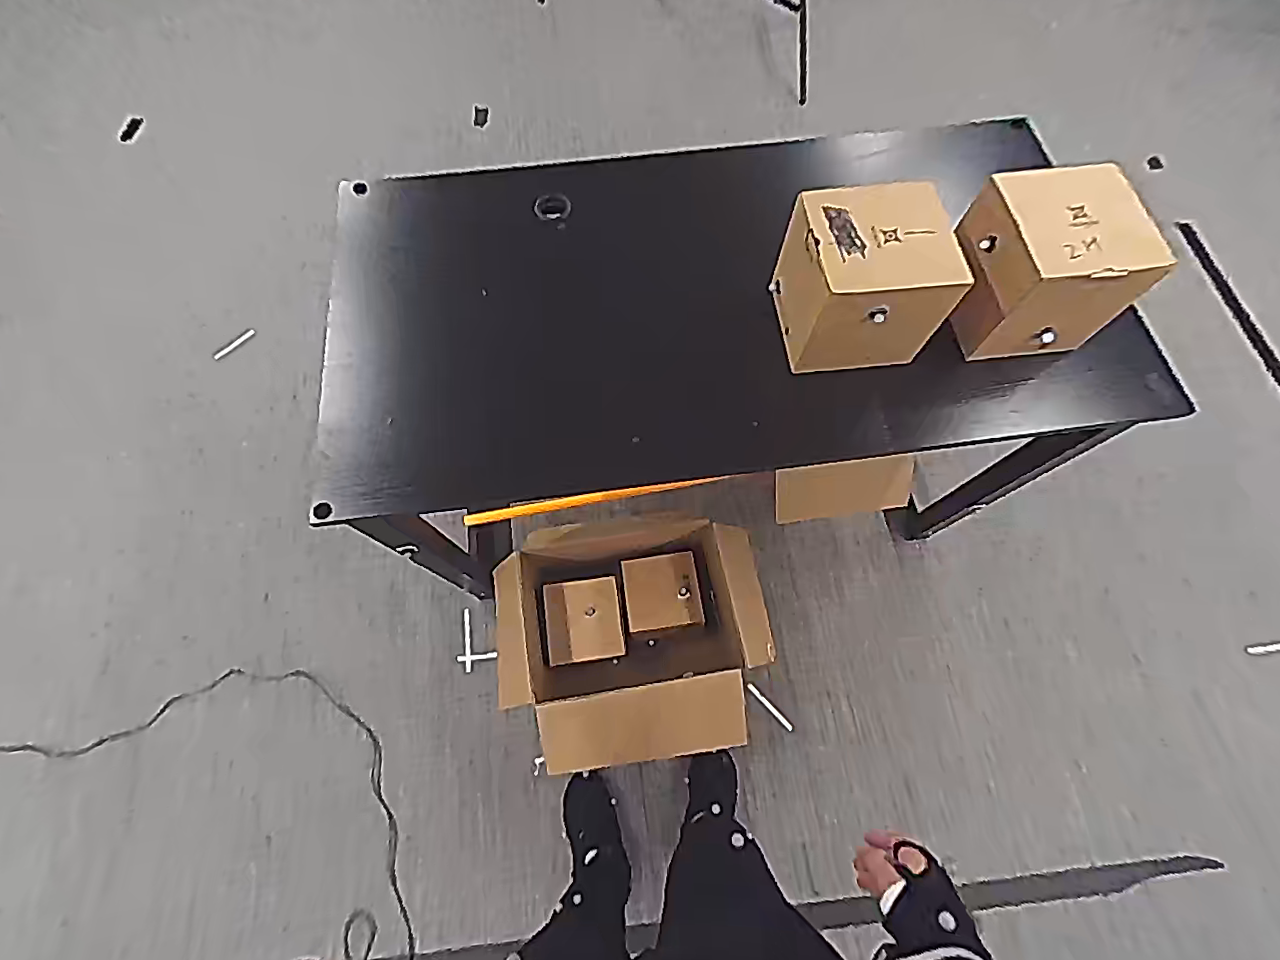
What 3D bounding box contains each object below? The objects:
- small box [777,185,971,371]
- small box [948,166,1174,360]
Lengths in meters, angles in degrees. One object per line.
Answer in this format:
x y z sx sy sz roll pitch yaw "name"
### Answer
0.293 -0.261 0.728 0.179 0.176 0.168 -5 69 -3 "small box"
0.537 -0.287 0.735 0.168 0.176 0.179 -6 68 -1 "small box"
